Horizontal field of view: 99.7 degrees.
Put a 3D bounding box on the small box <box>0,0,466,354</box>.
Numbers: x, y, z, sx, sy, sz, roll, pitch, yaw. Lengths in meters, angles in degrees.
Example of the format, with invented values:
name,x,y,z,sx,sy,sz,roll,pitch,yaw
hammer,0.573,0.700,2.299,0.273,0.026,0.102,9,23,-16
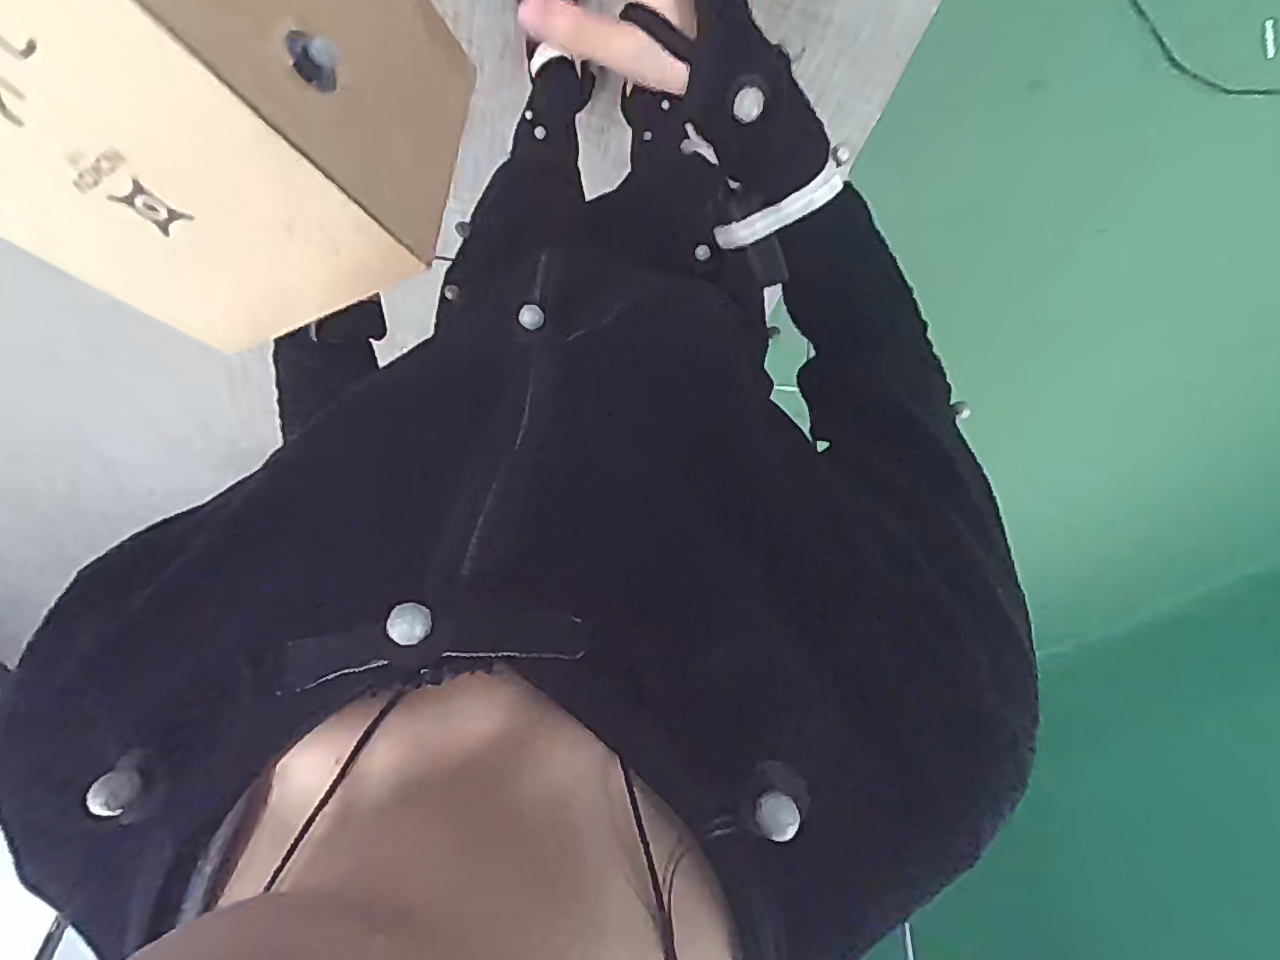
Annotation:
name,x,y,z,sx,sy,sz,roll,pitch,yaw
small box,-0.207,-0.194,0.255,0.168,0.176,0.179,-11,152,23
